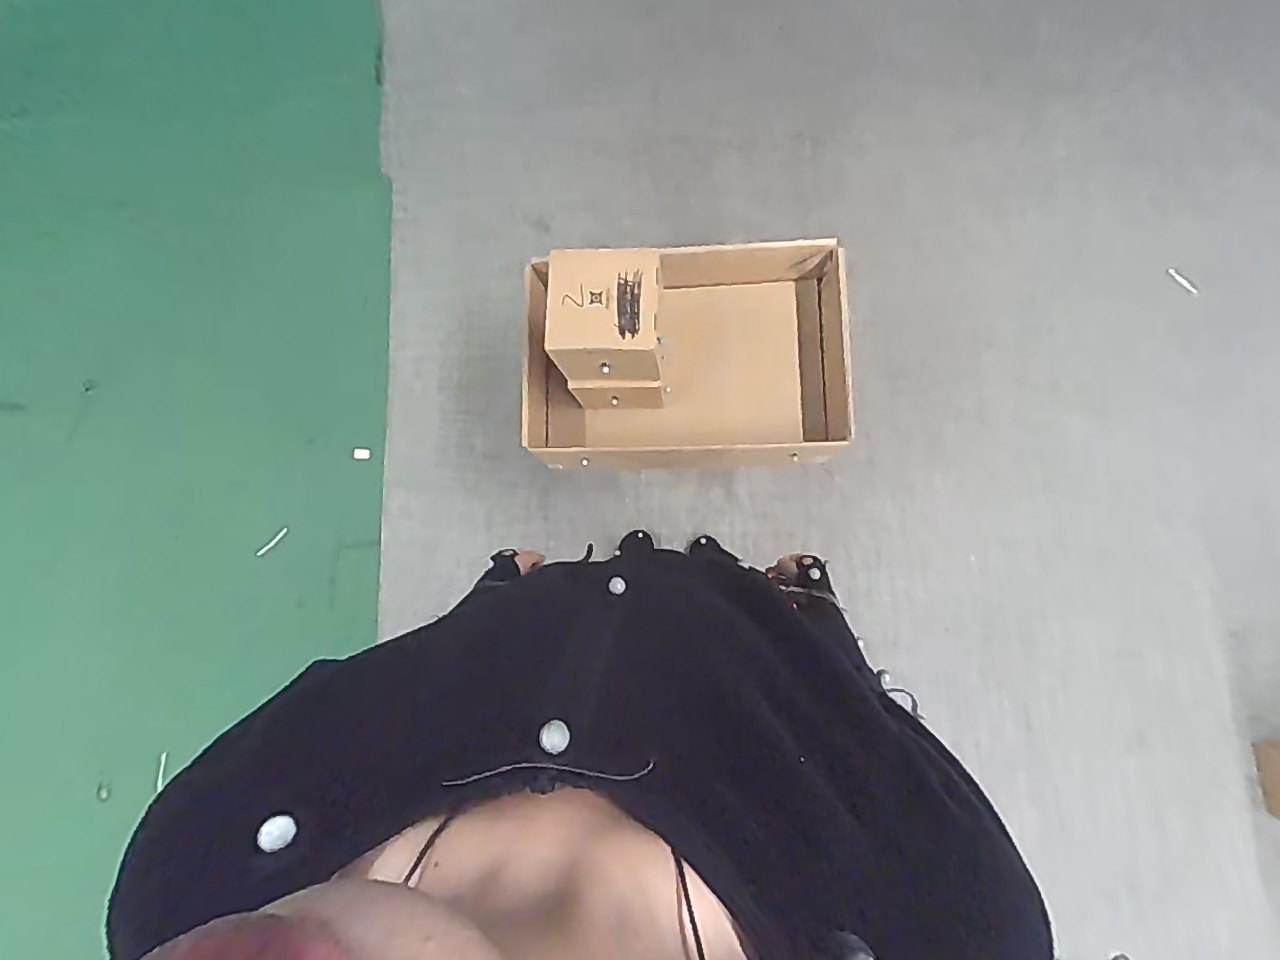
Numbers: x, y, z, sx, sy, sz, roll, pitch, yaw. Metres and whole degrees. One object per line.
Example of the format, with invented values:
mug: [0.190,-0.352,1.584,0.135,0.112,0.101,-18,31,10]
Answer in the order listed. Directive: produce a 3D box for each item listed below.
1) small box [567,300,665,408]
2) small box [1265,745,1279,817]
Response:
small box: [-0.040,-0.244,1.074,0.179,0.176,0.168,0,83,5]
small box: [1.599,0.719,1.230,0.168,0.176,0.179,-3,83,5]
